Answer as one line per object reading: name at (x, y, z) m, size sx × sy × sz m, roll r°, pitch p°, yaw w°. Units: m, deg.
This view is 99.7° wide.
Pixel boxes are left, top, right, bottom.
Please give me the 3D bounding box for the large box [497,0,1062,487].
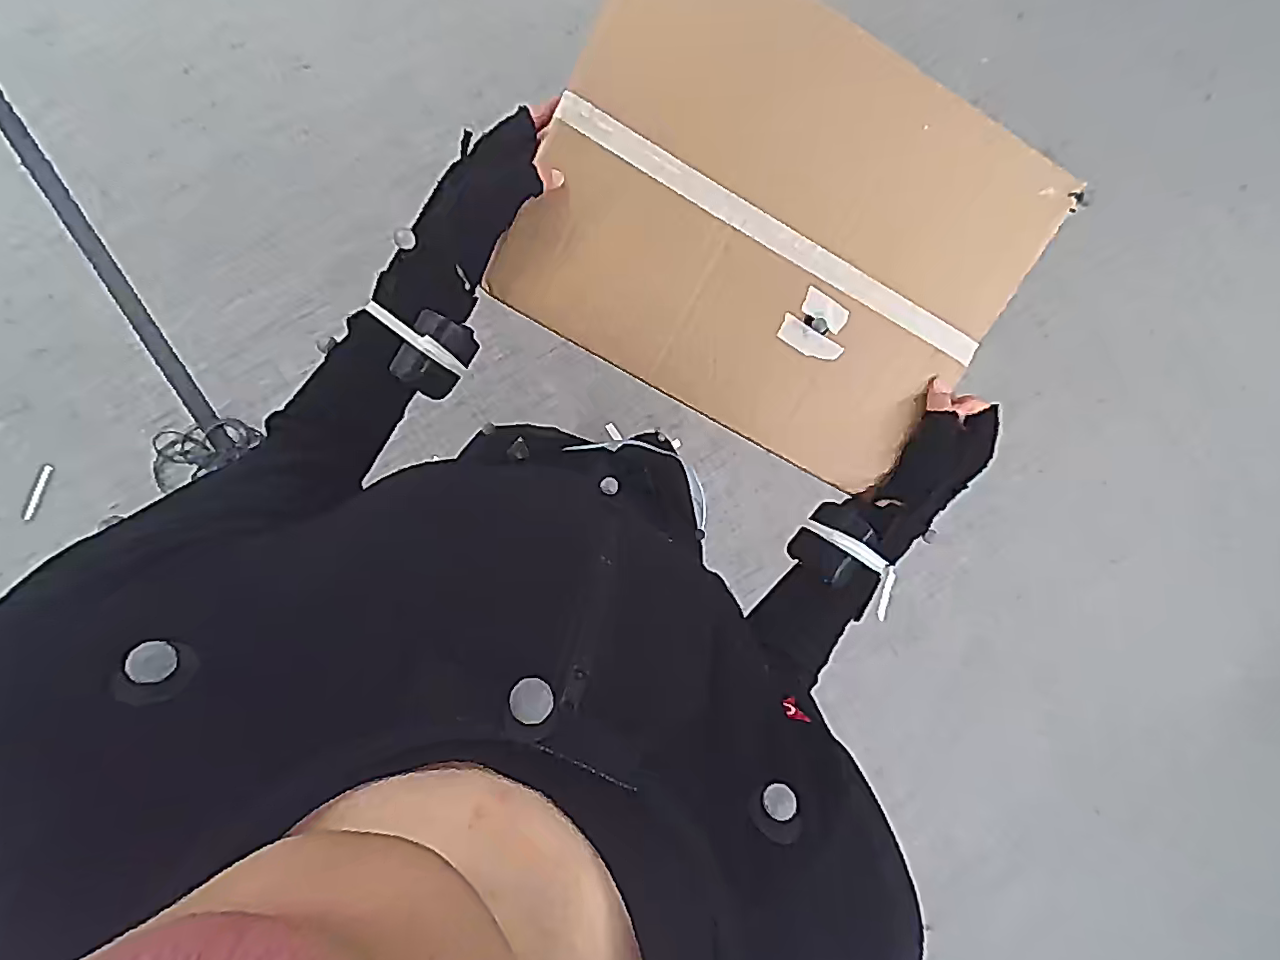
large box at (0.112, -0.246, 0.608) m, size 0.408 × 0.320 × 0.320 m, roll 28°, pitch 103°, yaw -9°
